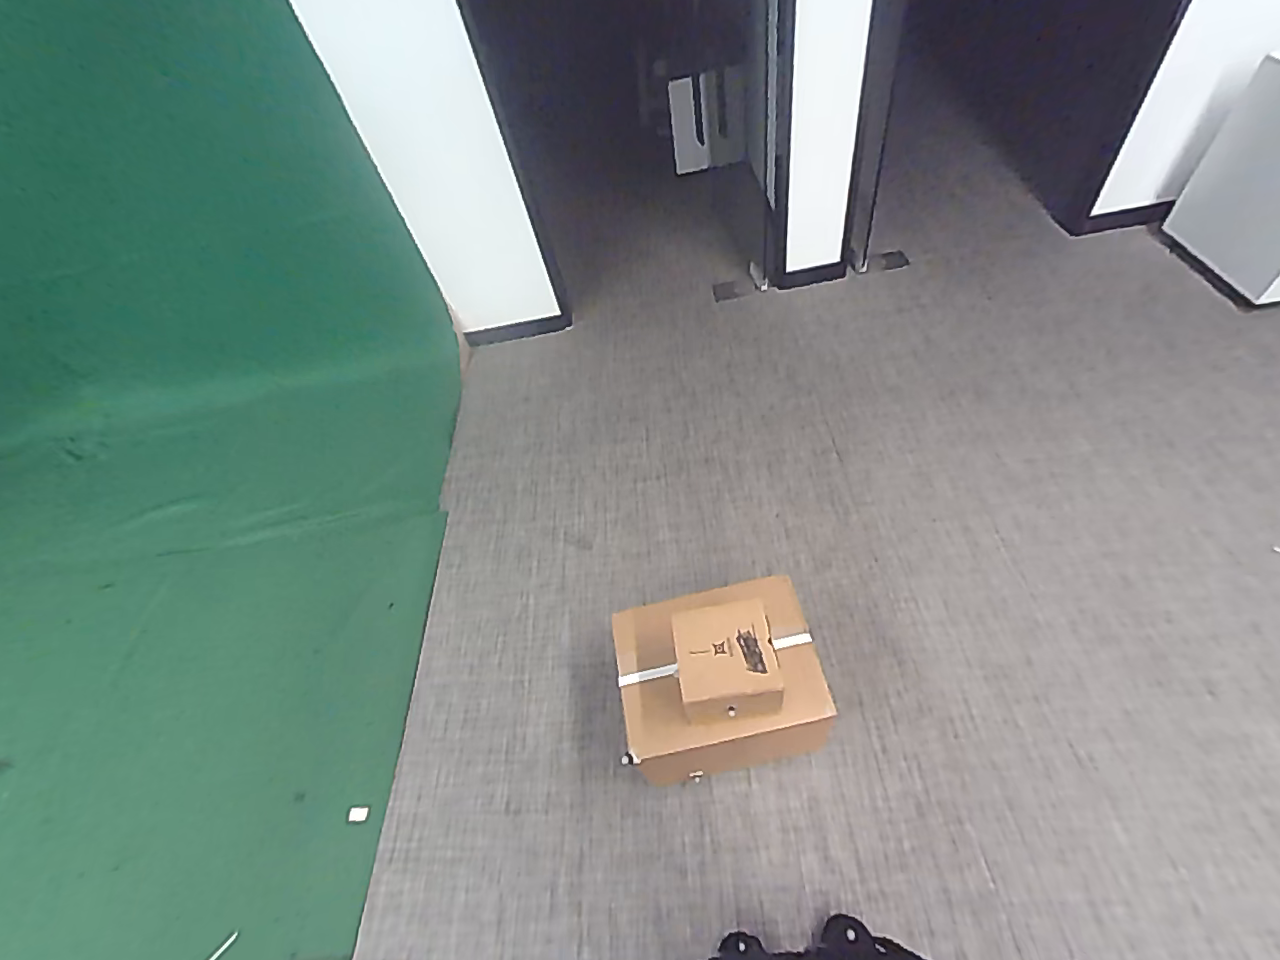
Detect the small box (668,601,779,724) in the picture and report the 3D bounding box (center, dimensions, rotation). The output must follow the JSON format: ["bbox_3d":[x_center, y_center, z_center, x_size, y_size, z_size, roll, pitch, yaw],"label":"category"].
[{"bbox_3d":[0.158,0.352,1.034,0.179,0.176,0.168,-11,52,5],"label":"small box"}]
